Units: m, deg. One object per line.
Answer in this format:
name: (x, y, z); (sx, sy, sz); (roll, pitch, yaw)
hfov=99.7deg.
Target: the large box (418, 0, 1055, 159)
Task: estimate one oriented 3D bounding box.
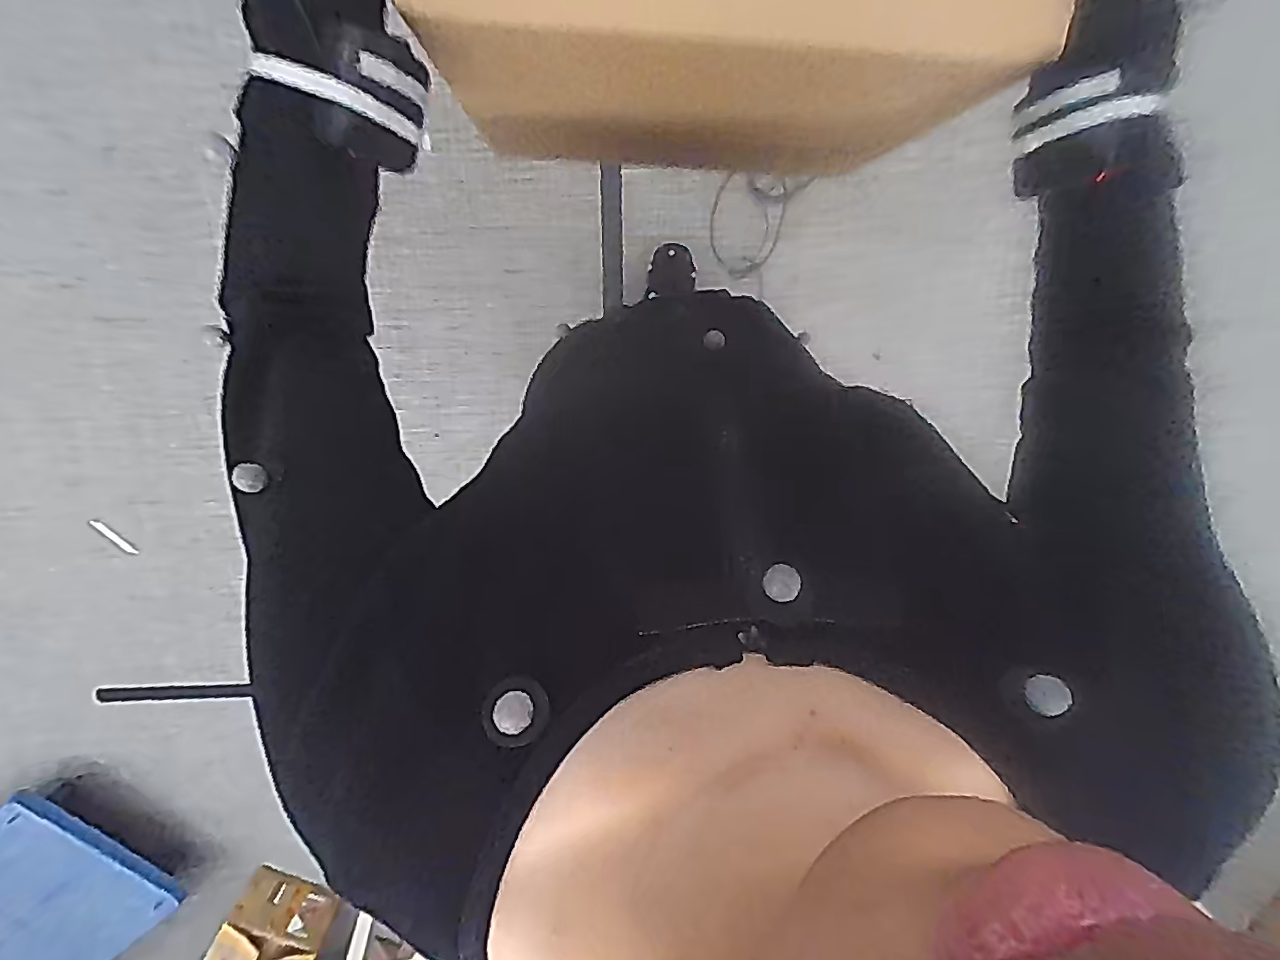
large box: (0.050, -0.470, 0.422); (0.408, 0.320, 0.320); (0, 108, -5)
